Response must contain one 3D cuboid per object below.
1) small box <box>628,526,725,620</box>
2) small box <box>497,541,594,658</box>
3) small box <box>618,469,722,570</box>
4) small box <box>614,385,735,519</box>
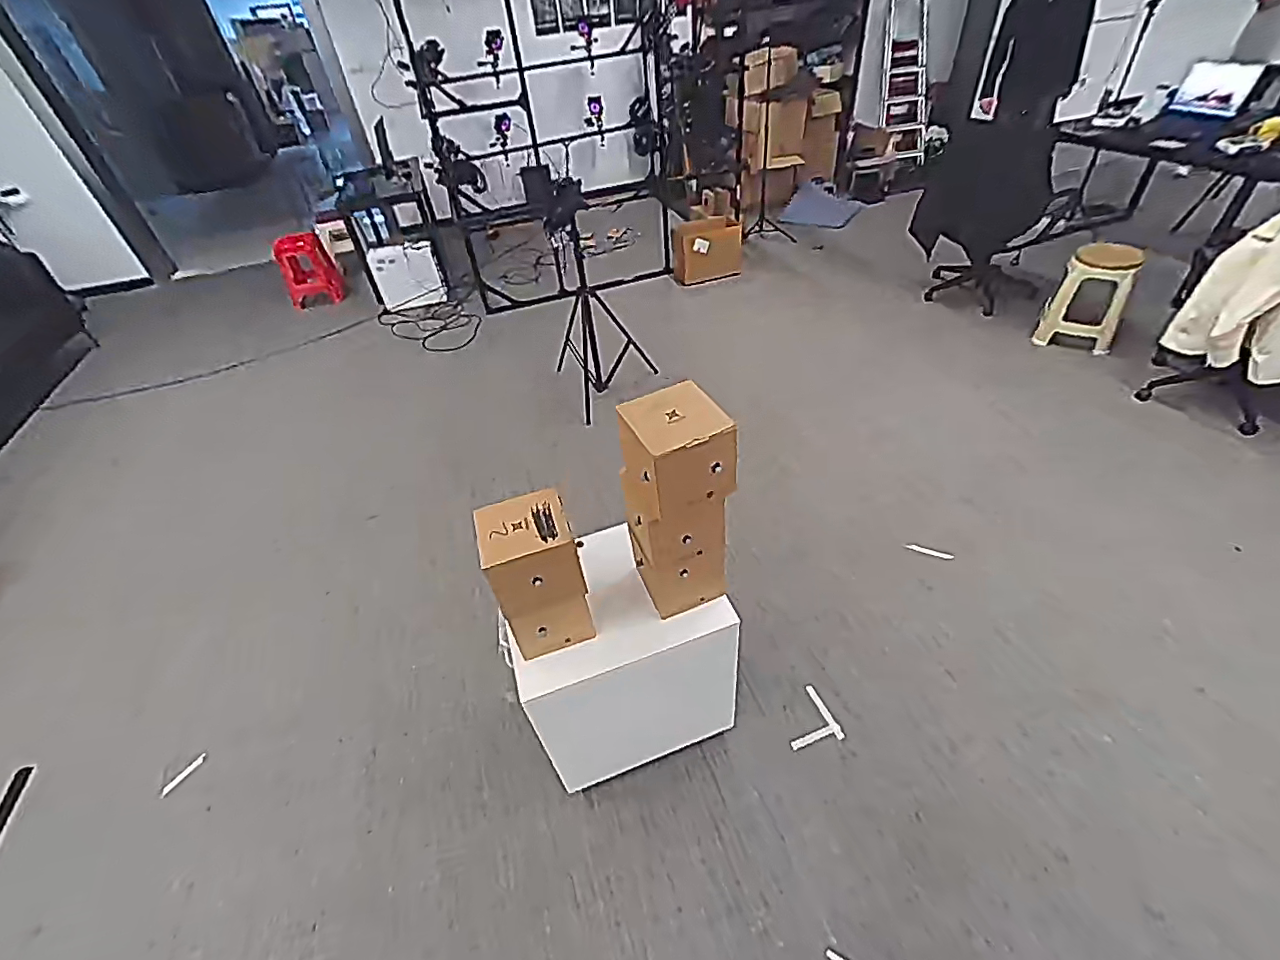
[{"bbox_3d":[0.085,0.190,1.252,0.168,0.176,0.179,-20,43,-11],"label":"small box"},{"bbox_3d":[-0.209,0.274,1.207,0.168,0.176,0.179,-16,42,-10],"label":"small box"},{"bbox_3d":[0.067,0.068,1.142,0.168,0.176,0.179,-18,43,-11],"label":"small box"},{"bbox_3d":[0.067,-0.048,1.027,0.168,0.176,0.179,-22,44,-15],"label":"small box"}]
